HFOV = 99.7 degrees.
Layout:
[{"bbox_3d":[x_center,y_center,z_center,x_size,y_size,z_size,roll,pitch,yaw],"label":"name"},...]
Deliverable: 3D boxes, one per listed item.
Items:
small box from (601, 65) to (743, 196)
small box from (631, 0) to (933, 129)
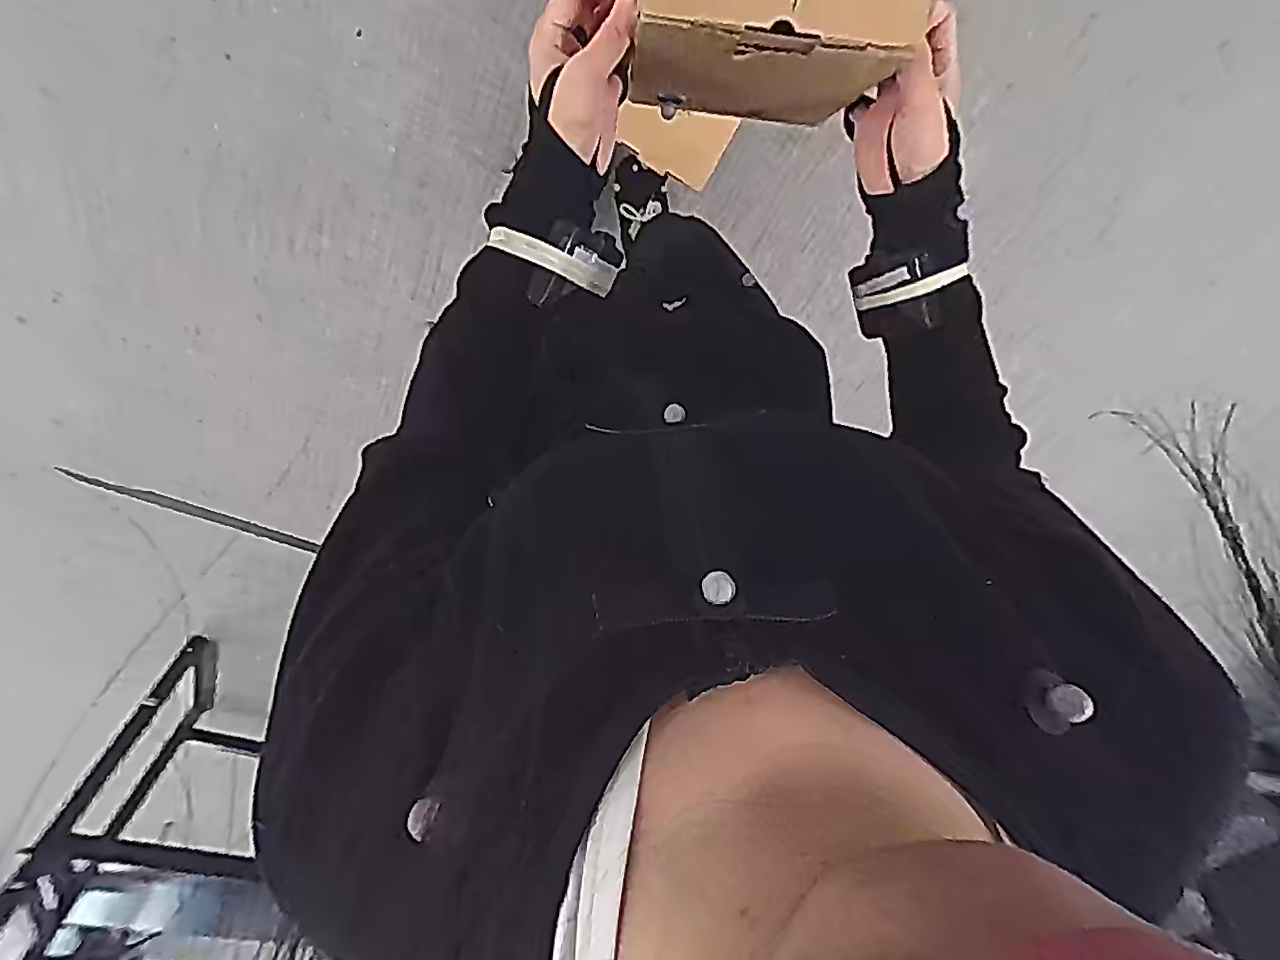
[{"bbox_3d":[0.059,-0.557,0.793,0.168,0.176,0.179,24,122,-18],"label":"small box"},{"bbox_3d":[0.084,-0.350,0.346,0.168,0.176,0.179,5,110,-5],"label":"small box"}]
